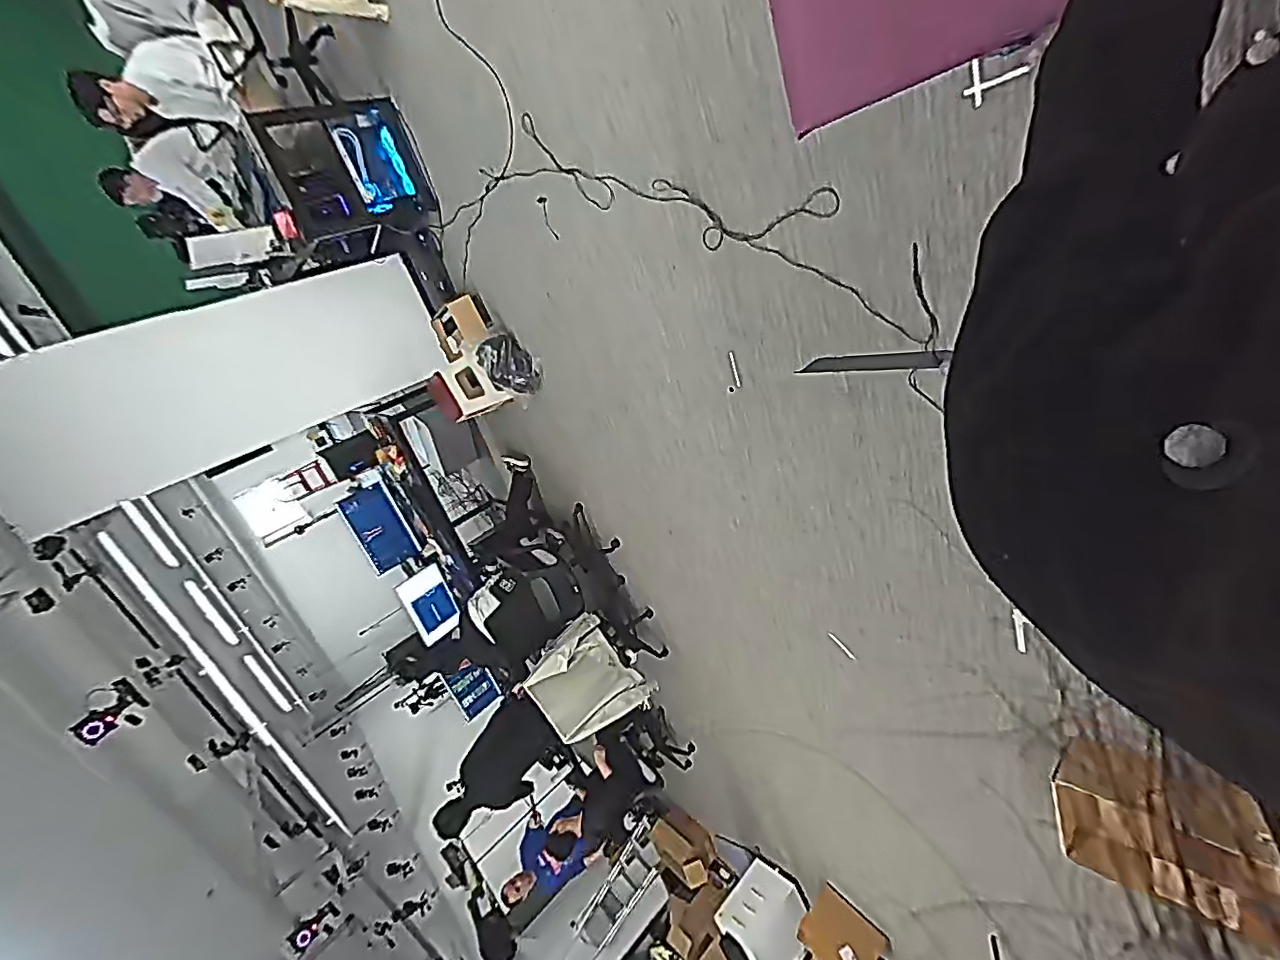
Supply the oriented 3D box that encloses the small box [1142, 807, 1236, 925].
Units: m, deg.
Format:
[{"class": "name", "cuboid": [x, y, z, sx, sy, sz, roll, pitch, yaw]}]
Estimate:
[{"class": "small box", "cuboid": [1.560, 1.084, 1.533, 0.168, 0.176, 0.179, 2, 120, 53]}]
